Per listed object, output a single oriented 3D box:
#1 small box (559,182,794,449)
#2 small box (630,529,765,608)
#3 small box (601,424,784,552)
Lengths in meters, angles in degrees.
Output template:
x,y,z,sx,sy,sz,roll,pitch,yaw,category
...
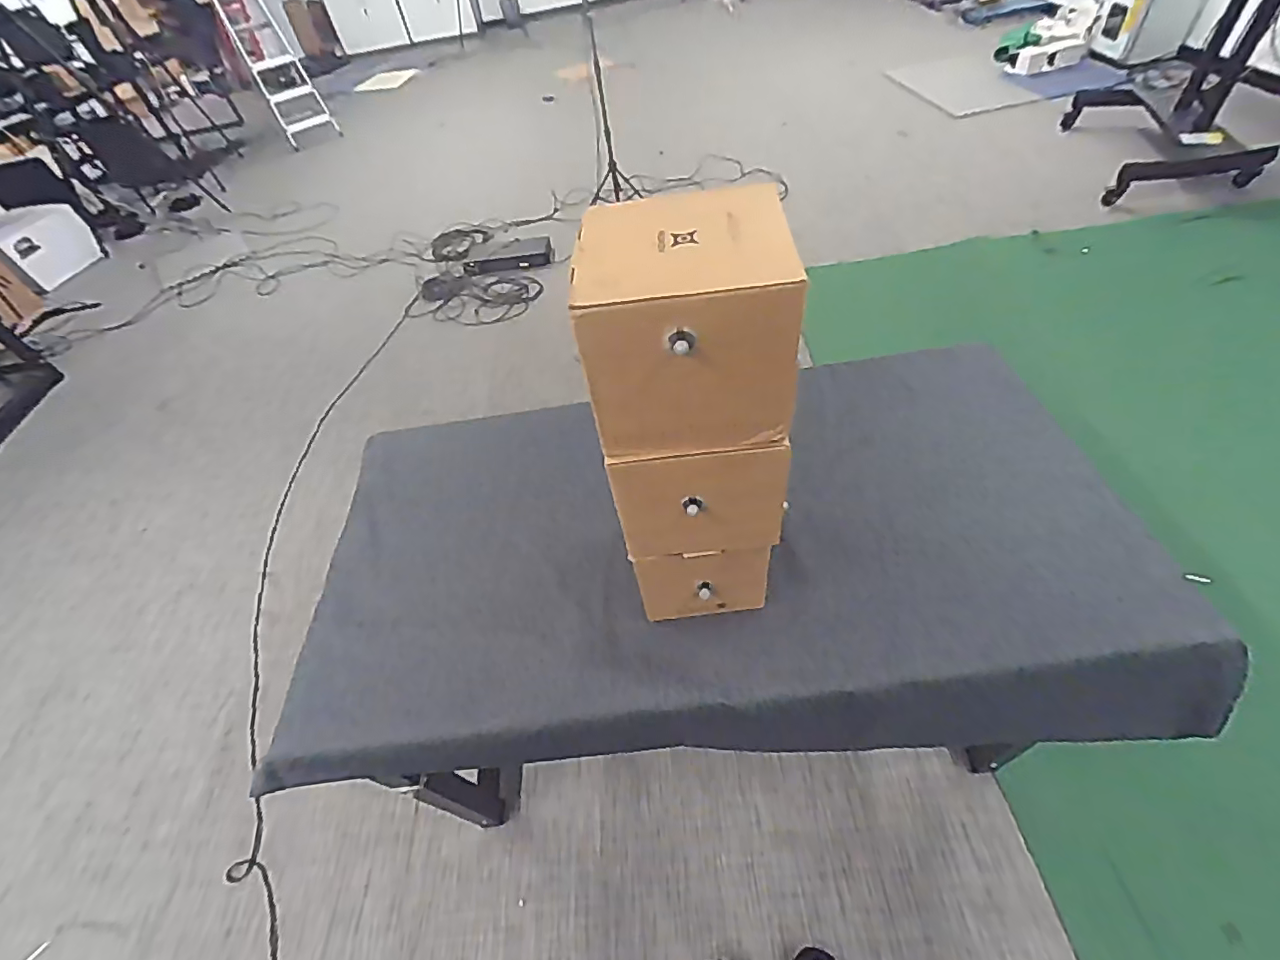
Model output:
x,y,z,sx,sy,sz,roll,pitch,yaw,category
0.036,-0.144,0.501,0.179,0.176,0.168,-5,51,6,small box
0.075,0.064,0.750,0.168,0.176,0.179,-9,50,3,small box
0.058,-0.035,0.619,0.179,0.176,0.168,-7,49,6,small box
